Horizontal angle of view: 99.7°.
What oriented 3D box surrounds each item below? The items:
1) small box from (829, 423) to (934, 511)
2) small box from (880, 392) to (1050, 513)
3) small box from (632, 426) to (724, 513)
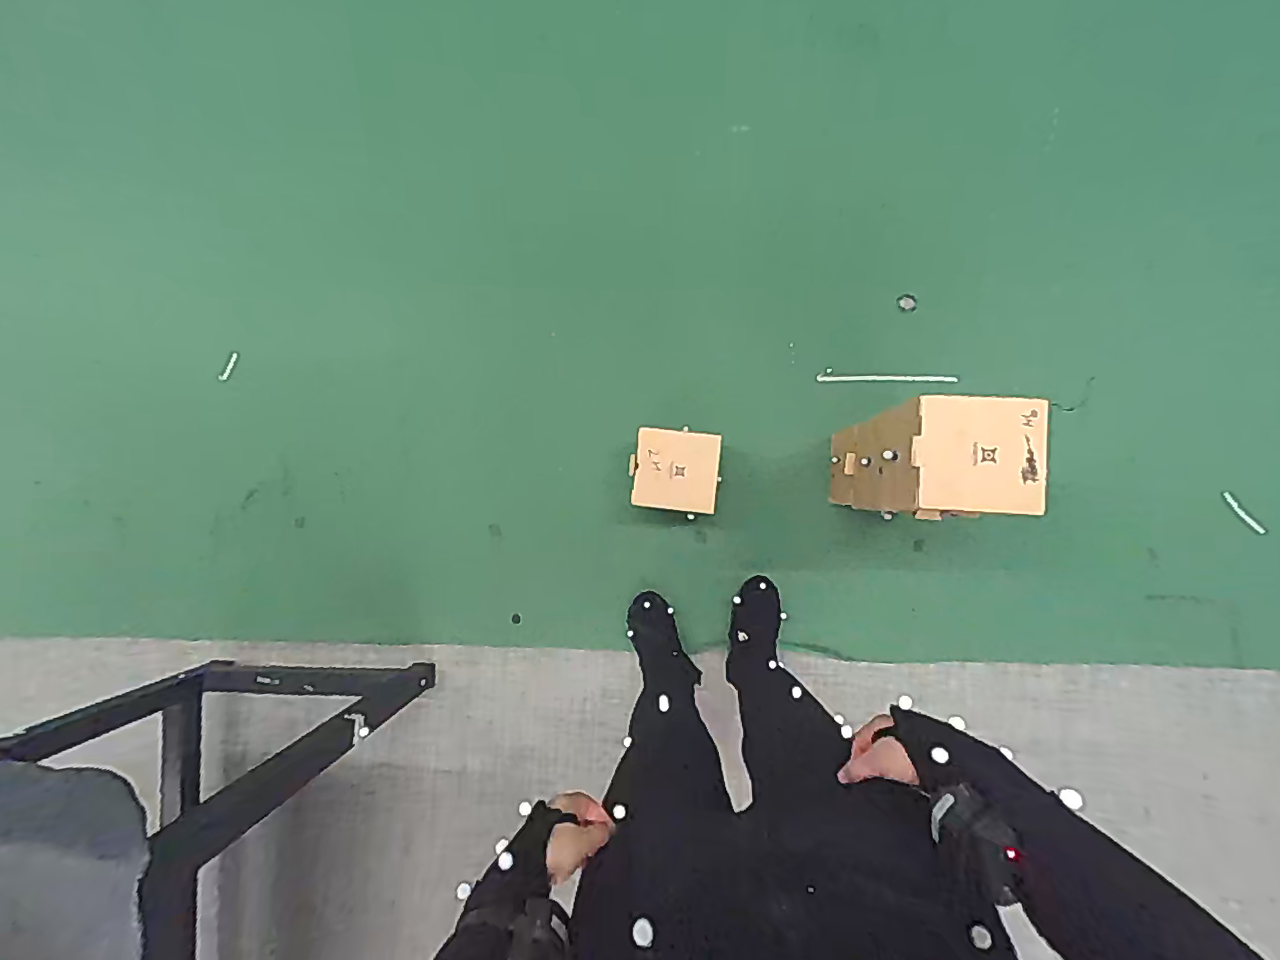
[{"bbox_3d":[0.525,-0.027,1.167,0.179,0.176,0.168,5,90,4],"label":"small box"},{"bbox_3d":[0.490,-0.036,0.840,0.179,0.176,0.168,3,89,5],"label":"small box"},{"bbox_3d":[0.084,-0.021,1.197,0.179,0.176,0.168,6,89,5],"label":"small box"}]
